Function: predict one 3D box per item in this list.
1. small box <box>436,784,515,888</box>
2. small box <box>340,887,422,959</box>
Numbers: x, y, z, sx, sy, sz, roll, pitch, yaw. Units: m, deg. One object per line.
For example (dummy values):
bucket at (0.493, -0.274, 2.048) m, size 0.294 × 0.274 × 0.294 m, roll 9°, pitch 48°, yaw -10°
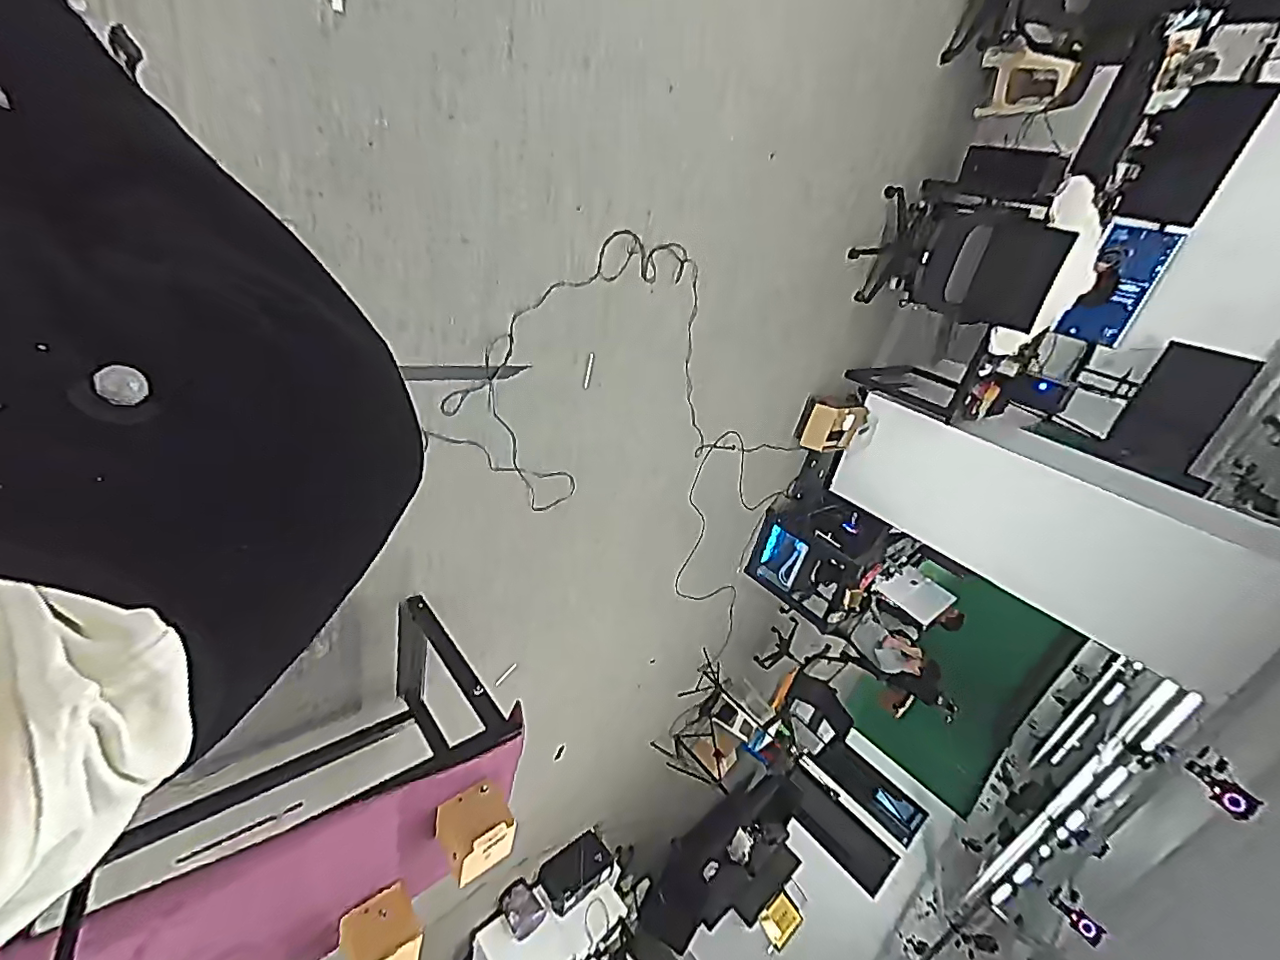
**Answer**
small box at (-0.492, 1.046, 1.609) m, size 0.168 × 0.176 × 0.179 m, roll -14°, pitch 129°, yaw -41°
small box at (-0.748, 1.332, 1.553) m, size 0.168 × 0.176 × 0.179 m, roll -9°, pitch 124°, yaw -43°
